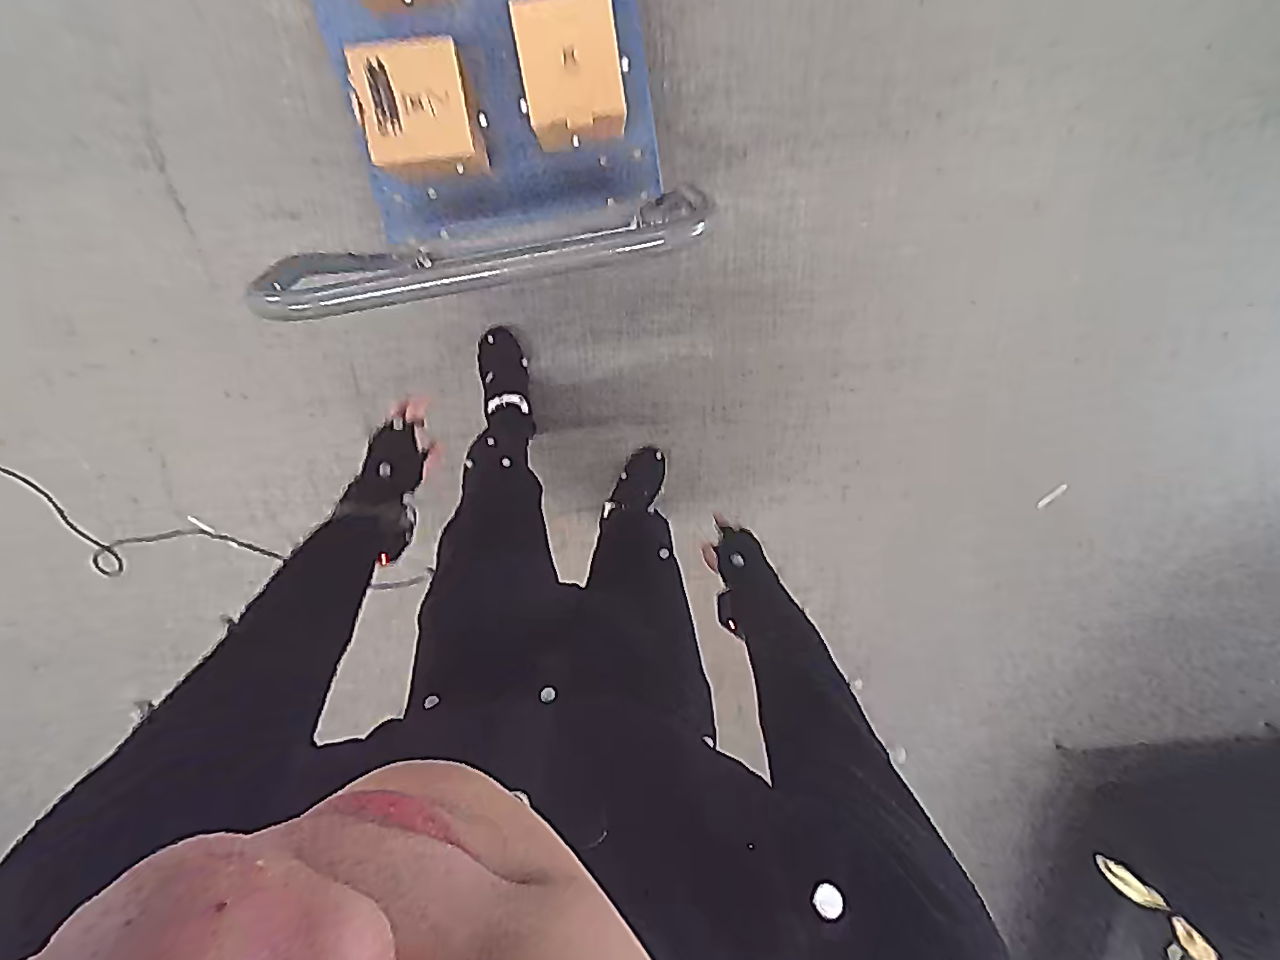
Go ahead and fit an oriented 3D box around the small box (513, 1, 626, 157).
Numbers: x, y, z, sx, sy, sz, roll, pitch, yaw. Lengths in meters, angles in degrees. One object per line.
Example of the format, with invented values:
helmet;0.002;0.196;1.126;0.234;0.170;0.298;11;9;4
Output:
small box;-0.123;-0.711;0.977;0.168;0.176;0.179;-10;111;-1
